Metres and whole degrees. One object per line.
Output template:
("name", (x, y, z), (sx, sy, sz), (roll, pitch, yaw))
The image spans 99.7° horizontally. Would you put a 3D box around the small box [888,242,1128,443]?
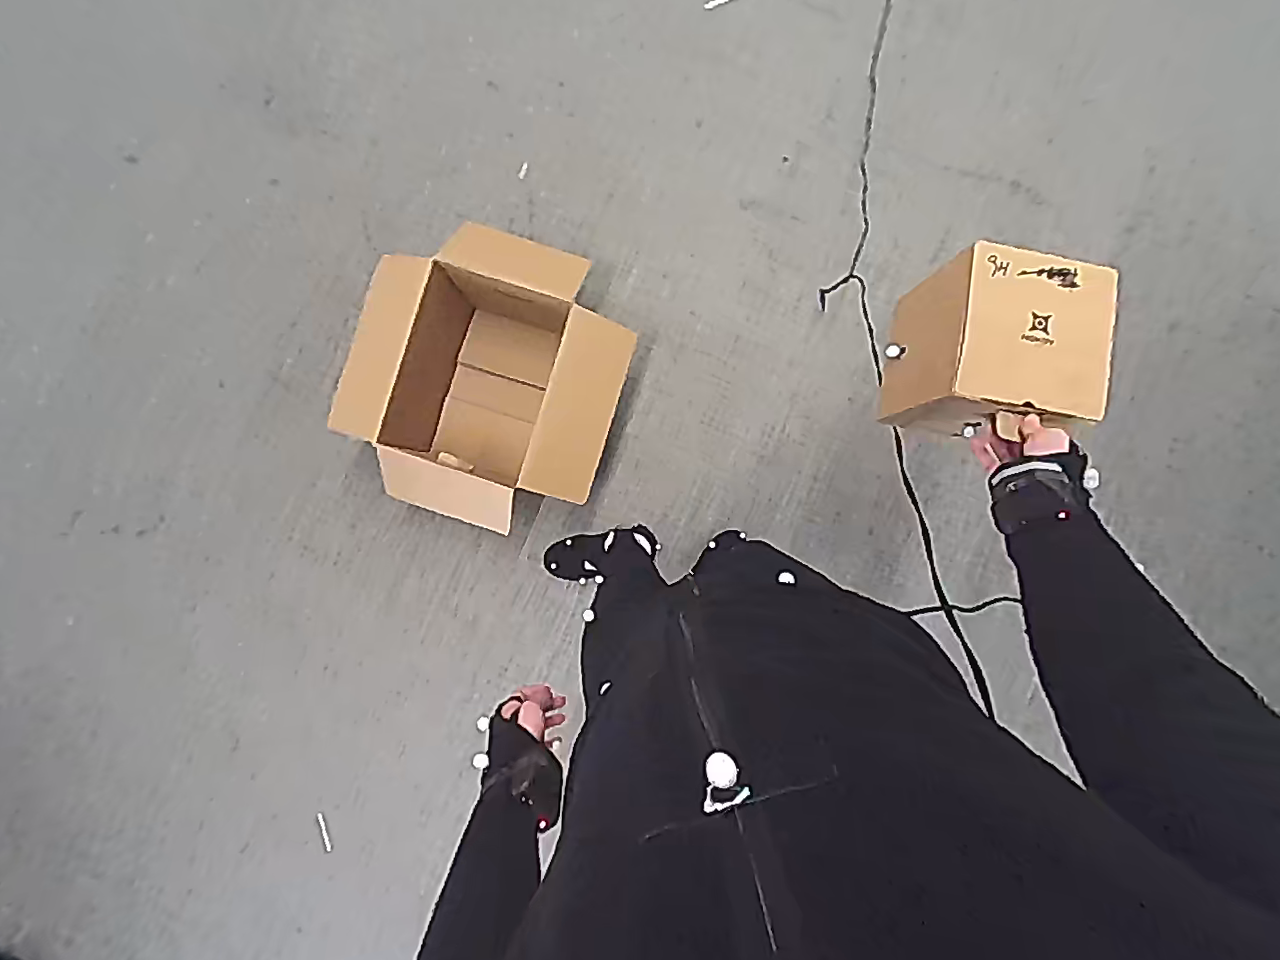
("small box", (0.428, -0.151, 0.659), (0.168, 0.176, 0.179), (13, 85, -2))
